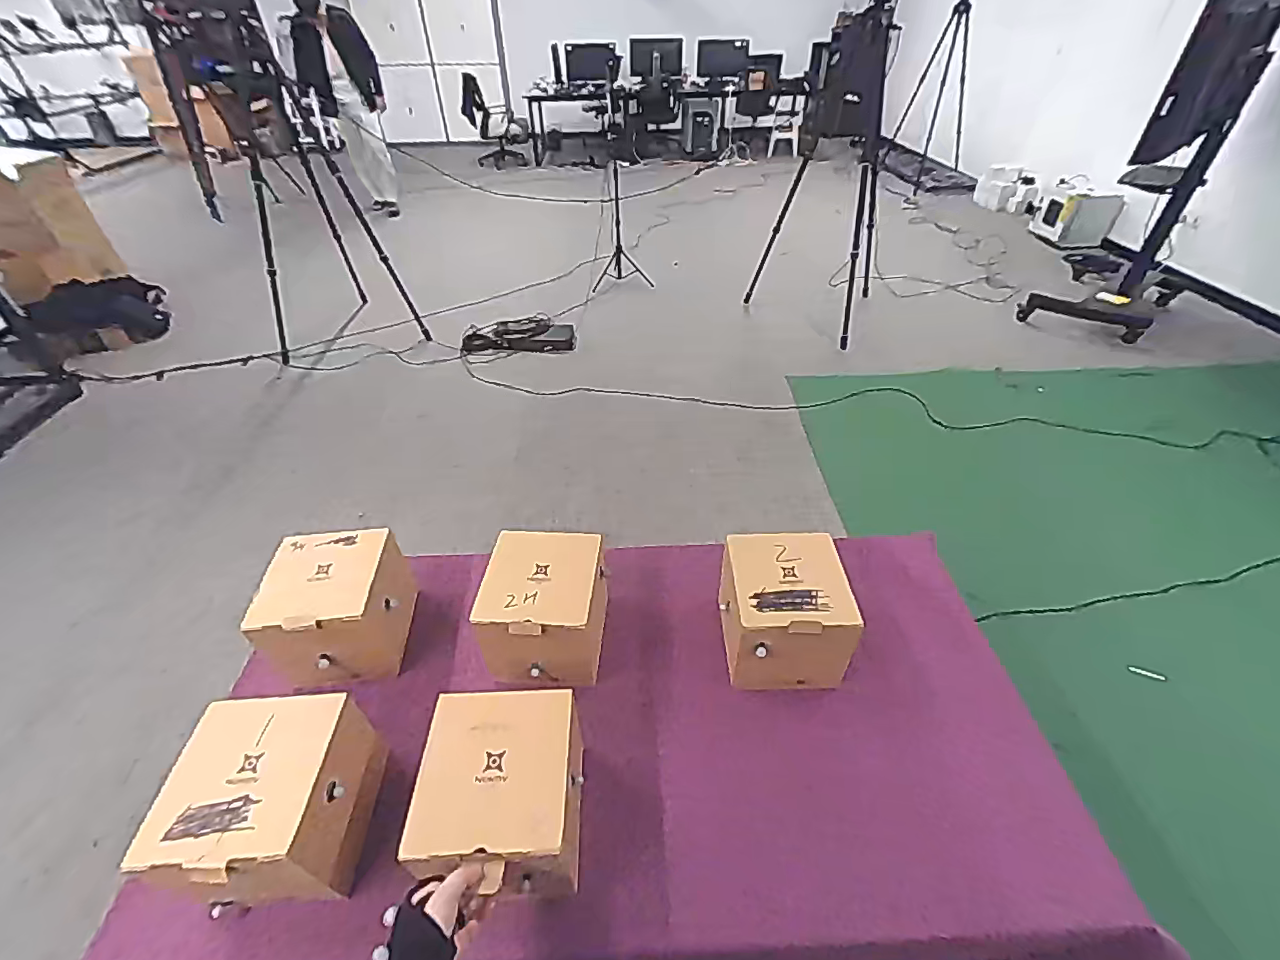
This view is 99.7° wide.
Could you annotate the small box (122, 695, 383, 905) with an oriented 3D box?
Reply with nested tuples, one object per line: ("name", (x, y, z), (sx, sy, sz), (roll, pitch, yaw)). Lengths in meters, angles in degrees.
("small box", (-0.436, 0.387, 0.652), (0.168, 0.176, 0.179), (-3, 40, -2))

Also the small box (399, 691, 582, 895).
("small box", (-0.161, 0.380, 0.655), (0.168, 0.176, 0.179), (-1, 40, -1))

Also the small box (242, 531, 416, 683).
("small box", (-0.474, 0.206, 0.861), (0.168, 0.176, 0.179), (-5, 42, -5))

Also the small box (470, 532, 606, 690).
("small box", (-0.147, 0.204, 0.854), (0.168, 0.176, 0.179), (2, 41, 4))
